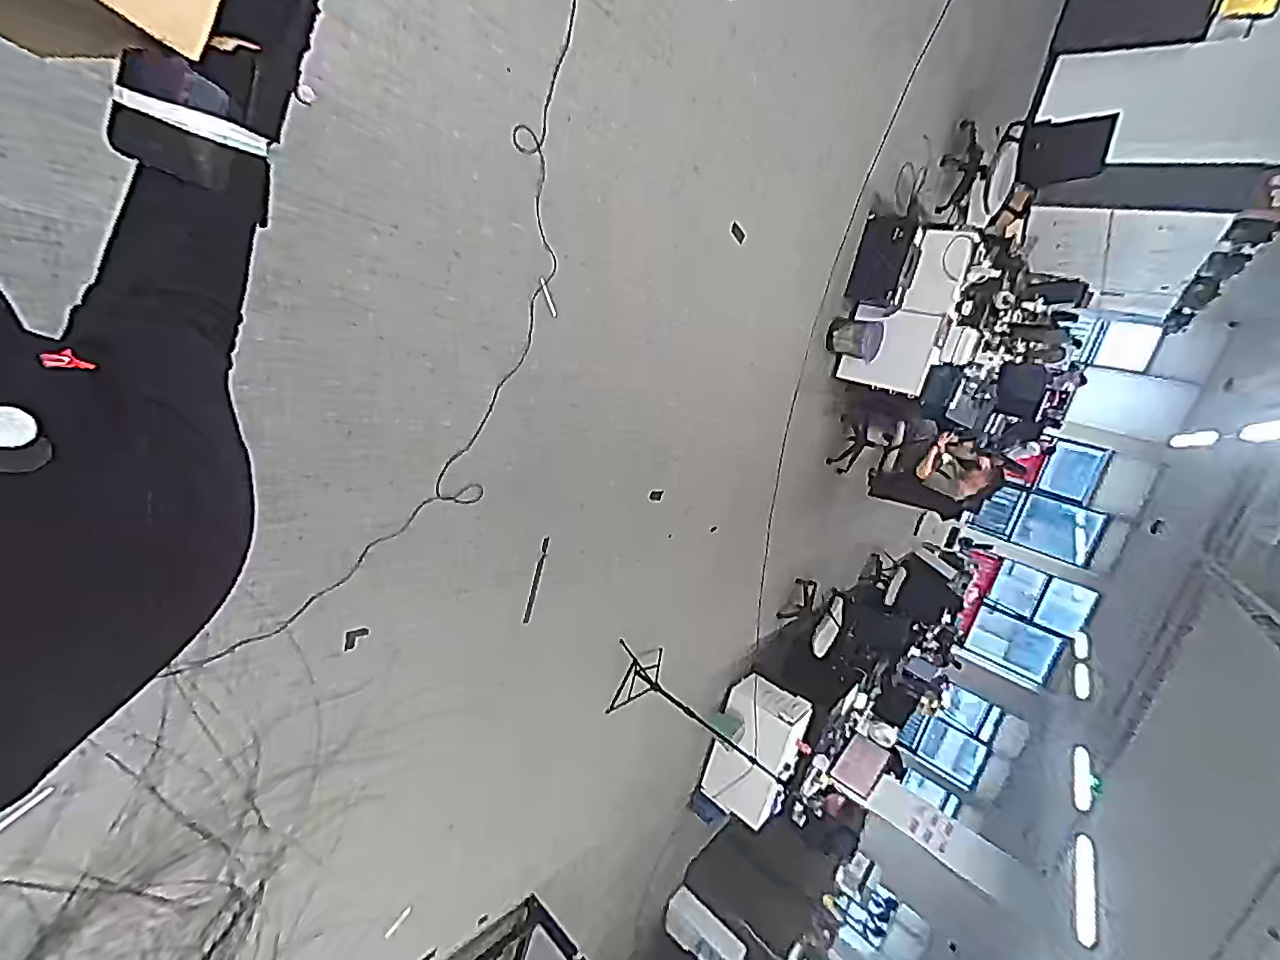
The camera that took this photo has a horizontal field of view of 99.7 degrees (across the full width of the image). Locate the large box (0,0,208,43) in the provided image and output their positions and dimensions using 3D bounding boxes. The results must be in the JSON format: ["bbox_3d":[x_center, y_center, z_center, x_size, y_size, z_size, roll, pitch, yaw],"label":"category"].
[{"bbox_3d":[-0.433,-0.477,0.209,0.408,0.320,0.320,12,102,-63],"label":"large box"}]
